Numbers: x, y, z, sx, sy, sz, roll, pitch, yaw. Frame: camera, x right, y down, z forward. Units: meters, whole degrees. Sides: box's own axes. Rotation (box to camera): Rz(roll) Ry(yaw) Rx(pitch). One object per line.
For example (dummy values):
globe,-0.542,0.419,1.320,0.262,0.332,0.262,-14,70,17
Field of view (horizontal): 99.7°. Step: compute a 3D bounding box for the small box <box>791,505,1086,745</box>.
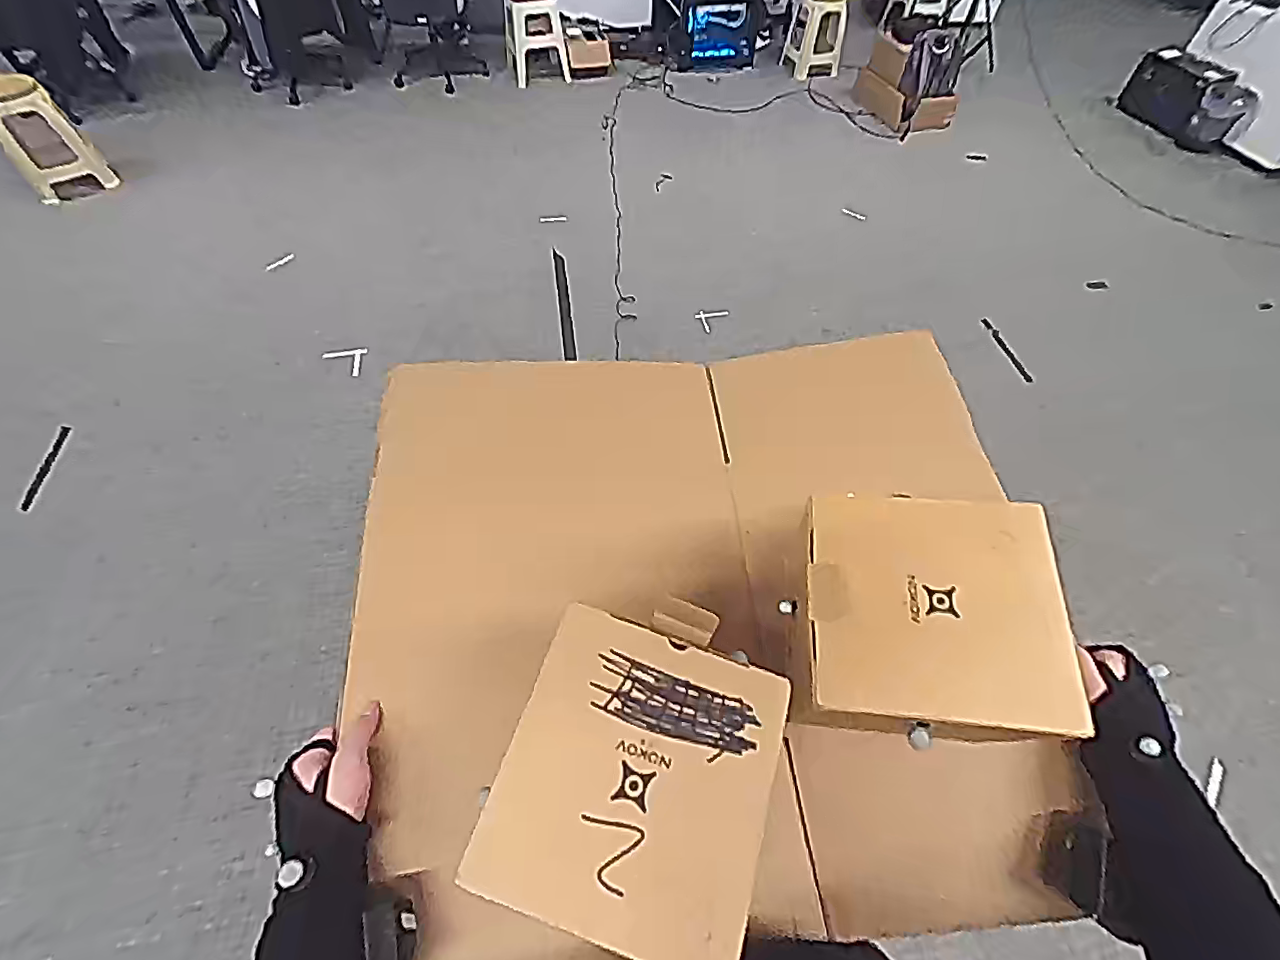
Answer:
small box,0.234,0.134,0.480,0.179,0.176,0.168,2,64,11
